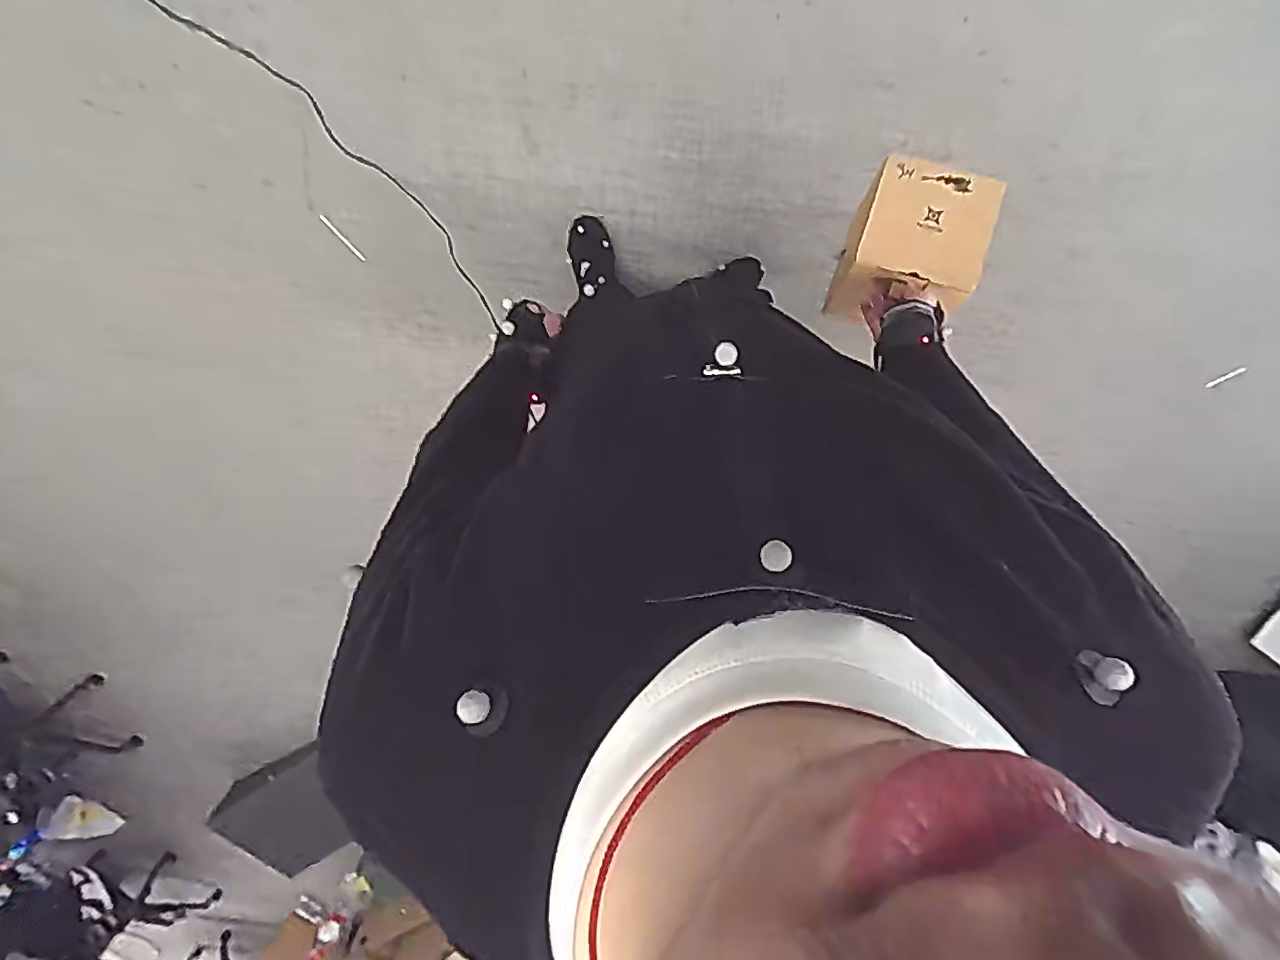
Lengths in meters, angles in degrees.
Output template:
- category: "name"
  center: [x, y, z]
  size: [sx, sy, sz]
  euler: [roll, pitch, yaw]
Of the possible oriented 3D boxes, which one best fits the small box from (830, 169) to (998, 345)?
- category: "small box"
  center: [0.405, -0.330, 0.830]
  size: [0.168, 0.176, 0.179]
  euler: [16, 83, 8]
